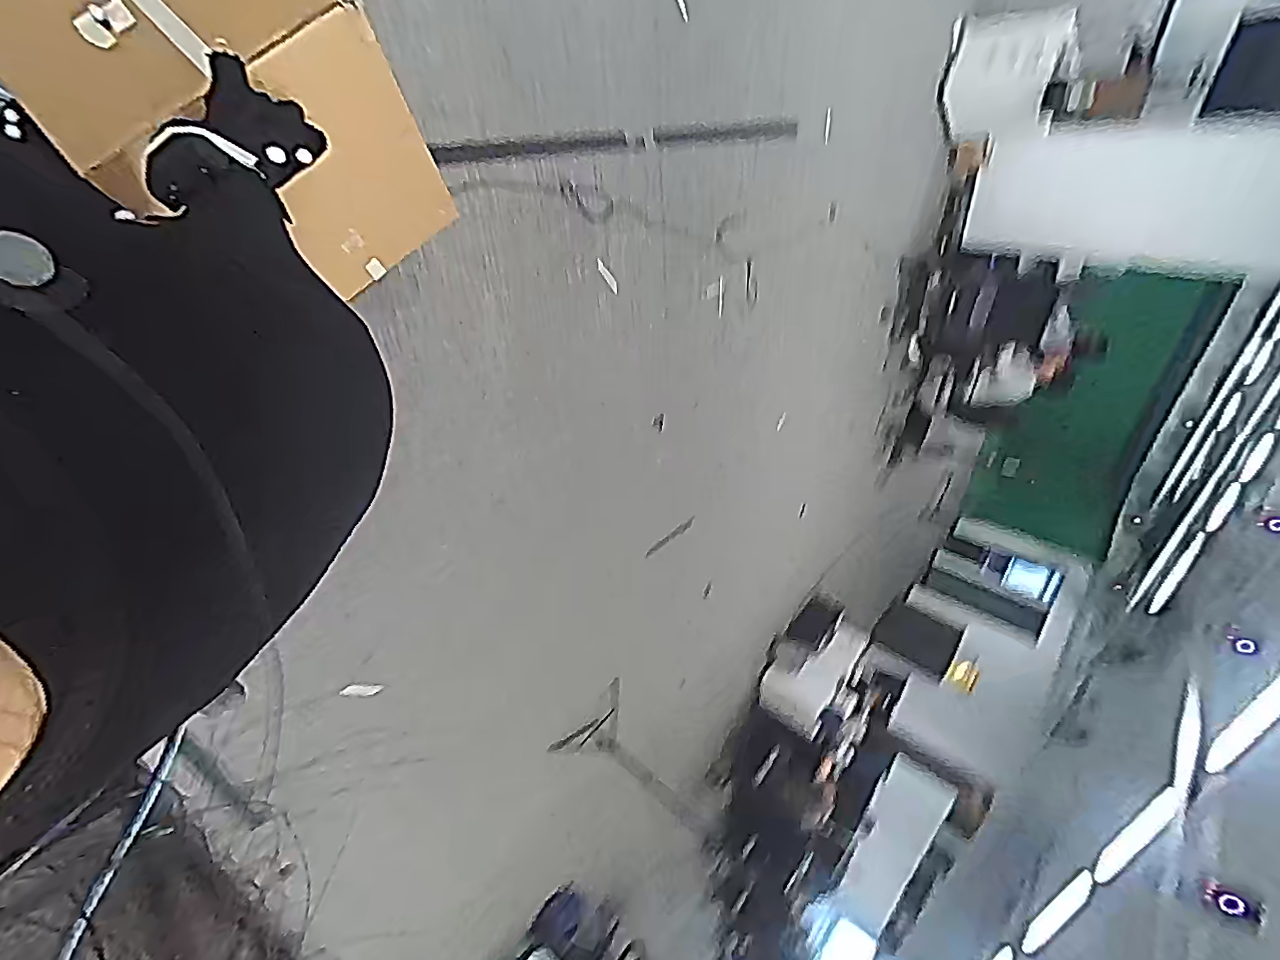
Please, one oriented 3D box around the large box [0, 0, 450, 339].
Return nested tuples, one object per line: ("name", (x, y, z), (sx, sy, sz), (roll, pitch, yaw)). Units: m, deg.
("large box", (-0.533, -0.475, 0.706), (0.320, 0.408, 0.320), (-42, 171, -9))
